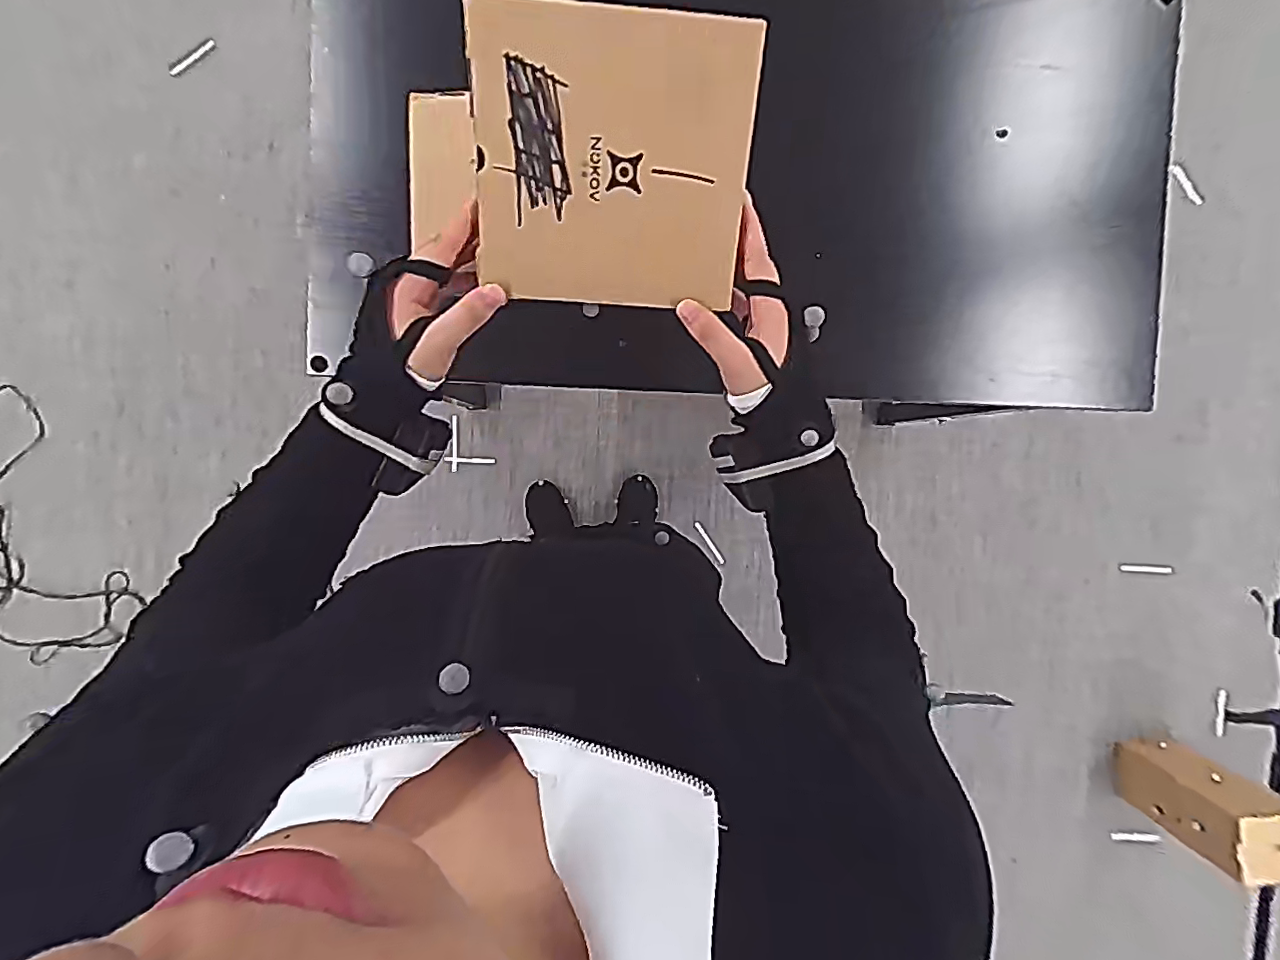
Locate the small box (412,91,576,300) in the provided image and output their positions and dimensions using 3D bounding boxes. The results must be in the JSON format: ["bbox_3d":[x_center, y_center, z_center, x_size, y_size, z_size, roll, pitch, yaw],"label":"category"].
[{"bbox_3d":[-0.167,-0.335,0.667,0.168,0.176,0.179,-1,93,-1],"label":"small box"}]

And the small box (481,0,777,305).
[{"bbox_3d":[-0.013,-0.235,0.419,0.179,0.176,0.168,3,114,-3],"label":"small box"}]

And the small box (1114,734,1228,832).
[{"bbox_3d":[1.479,0.841,1.513,0.168,0.176,0.179,-3,93,-2],"label":"small box"}]

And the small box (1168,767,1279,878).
[{"bbox_3d":[1.476,0.847,1.349,0.179,0.176,0.168,-5,93,-1],"label":"small box"}]
